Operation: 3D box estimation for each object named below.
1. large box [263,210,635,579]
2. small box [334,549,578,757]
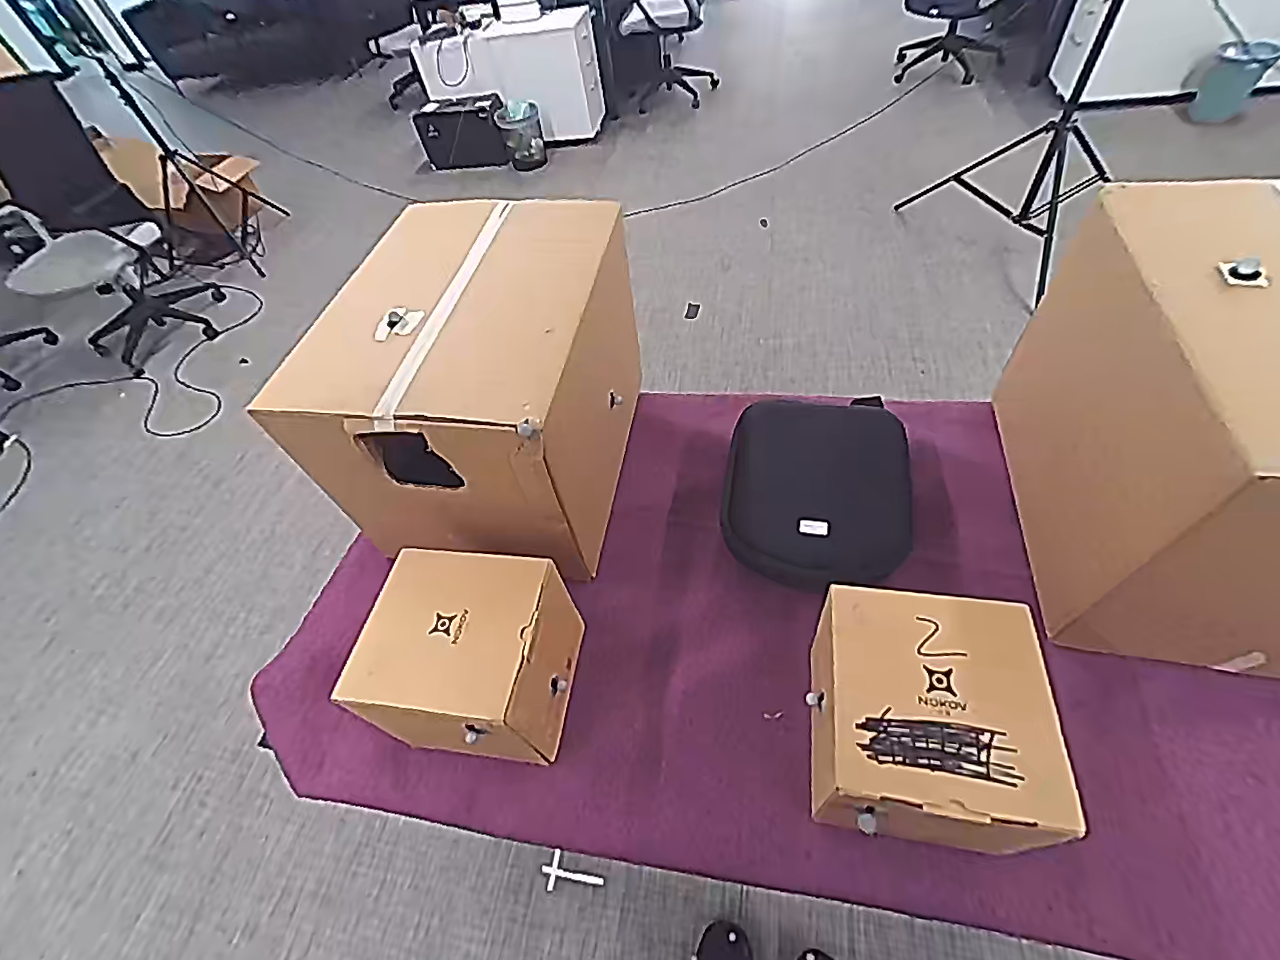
[{"bbox_3d":[-0.193,-0.120,0.751,0.320,0.320,0.408,3,55,10],"label":"large box"},{"bbox_3d":[-0.182,0.193,0.598,0.179,0.176,0.168,2,52,10],"label":"small box"}]
